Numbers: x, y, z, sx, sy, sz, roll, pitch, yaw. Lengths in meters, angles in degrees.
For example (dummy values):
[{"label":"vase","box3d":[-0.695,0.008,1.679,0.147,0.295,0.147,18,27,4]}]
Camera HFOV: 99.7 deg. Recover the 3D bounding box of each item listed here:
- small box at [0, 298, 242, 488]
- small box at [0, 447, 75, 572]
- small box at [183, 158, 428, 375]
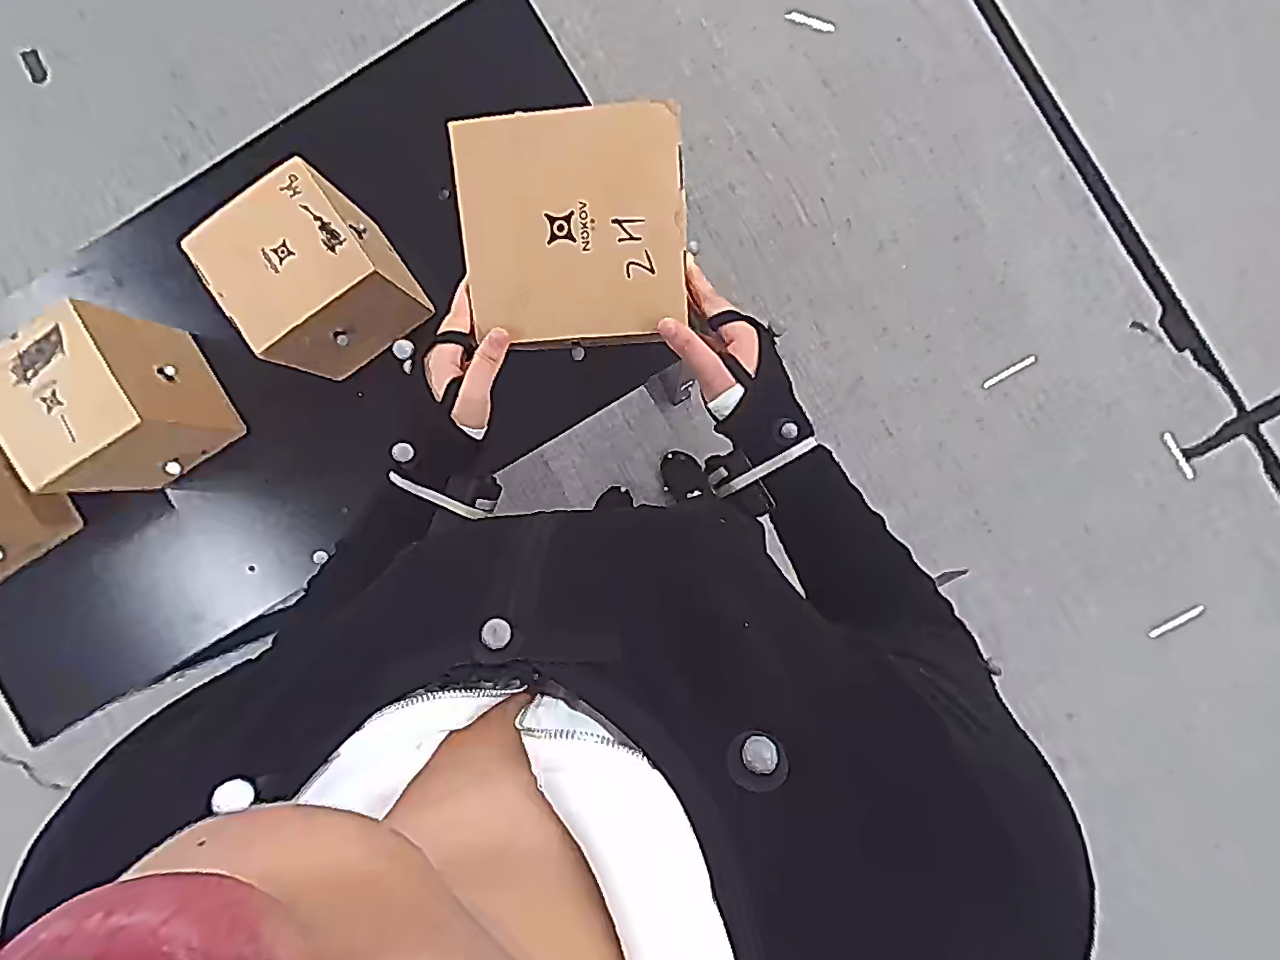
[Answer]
[{"label":"small box","box3d":[-0.694,-0.102,0.718,0.168,0.176,0.179,-32,90,2]},{"label":"small box","box3d":[-0.945,0.037,0.729,0.168,0.176,0.179,-33,89,1]},{"label":"small box","box3d":[-0.418,-0.260,0.707,0.179,0.176,0.168,-35,89,3]}]
